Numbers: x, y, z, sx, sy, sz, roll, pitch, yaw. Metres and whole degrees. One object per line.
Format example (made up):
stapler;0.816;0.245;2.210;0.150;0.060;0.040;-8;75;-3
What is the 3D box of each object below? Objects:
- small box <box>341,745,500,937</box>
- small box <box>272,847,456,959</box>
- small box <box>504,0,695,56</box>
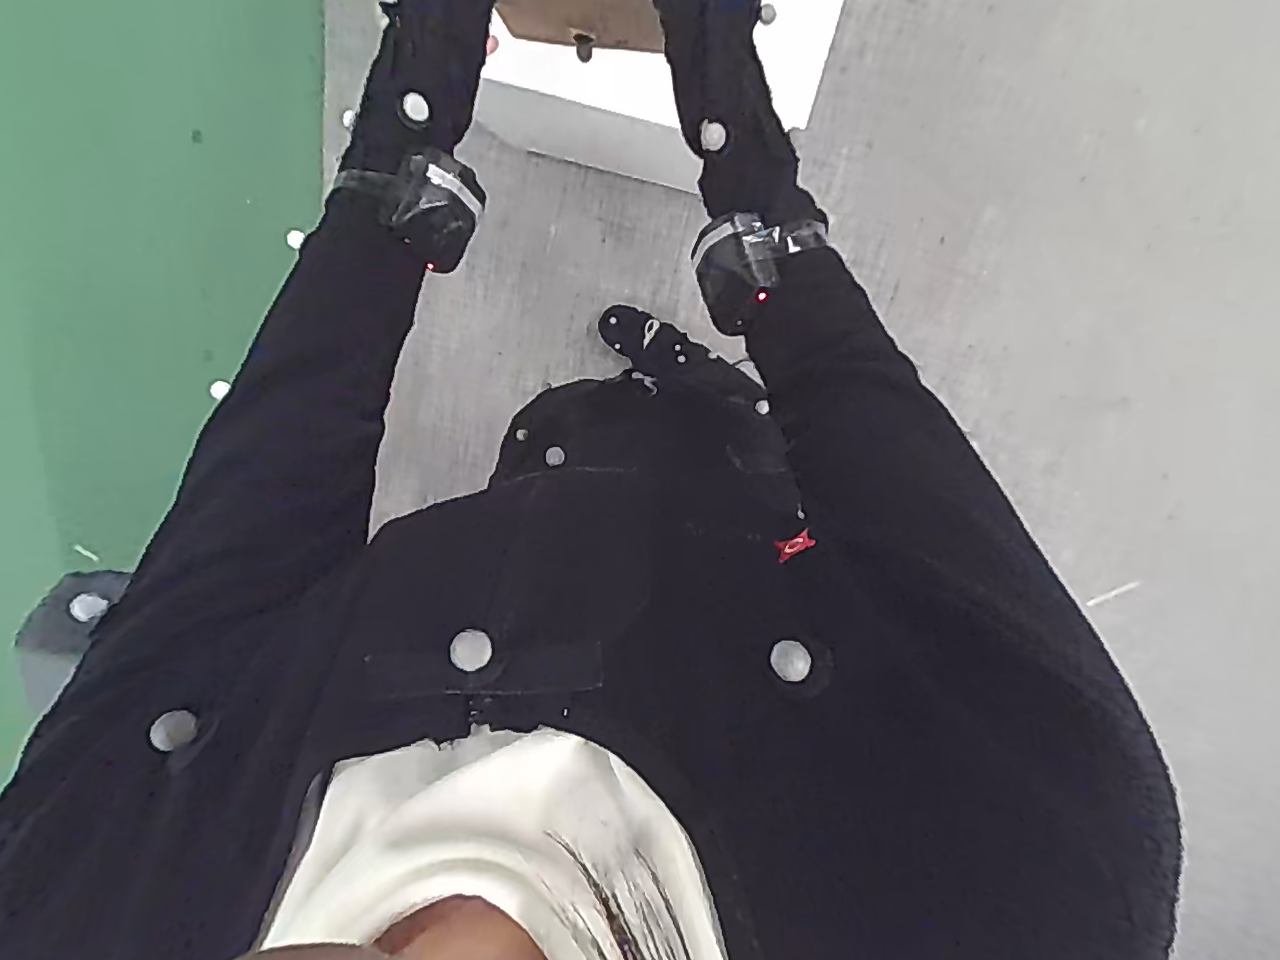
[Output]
small box;-0.327;0.540;0.824;0.179;0.176;0.168;15;112;-2
small box;-0.345;0.609;0.676;0.168;0.176;0.179;13;114;0
small box;-0.032;-0.462;0.414;0.168;0.176;0.179;5;116;0
